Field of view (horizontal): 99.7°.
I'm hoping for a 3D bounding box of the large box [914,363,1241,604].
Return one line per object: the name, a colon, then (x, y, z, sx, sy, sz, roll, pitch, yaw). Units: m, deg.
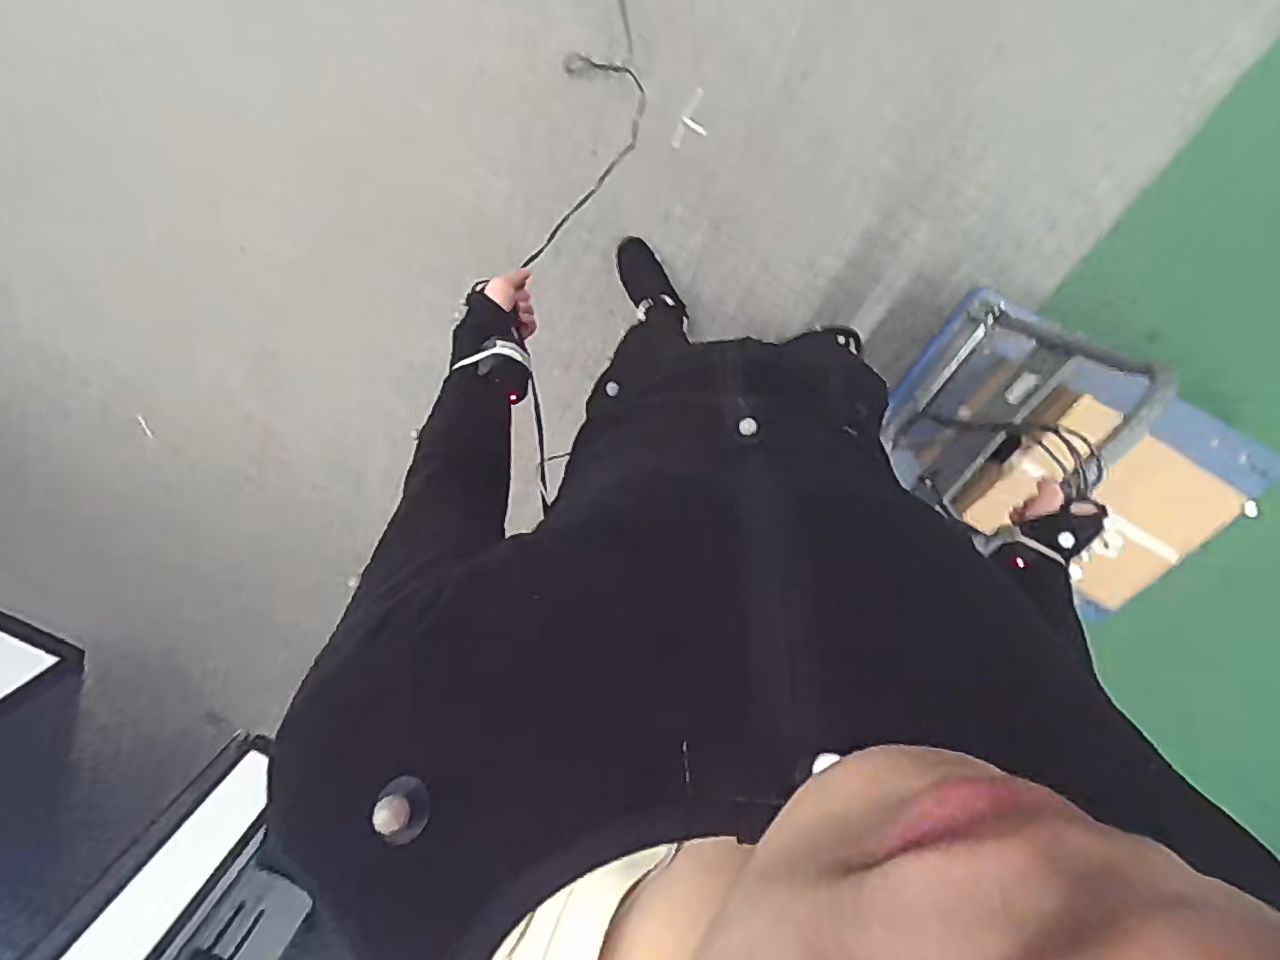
large box: (0.918, -0.006, 1.204, 0.408, 0.320, 0.320, 30, 116, -6)
